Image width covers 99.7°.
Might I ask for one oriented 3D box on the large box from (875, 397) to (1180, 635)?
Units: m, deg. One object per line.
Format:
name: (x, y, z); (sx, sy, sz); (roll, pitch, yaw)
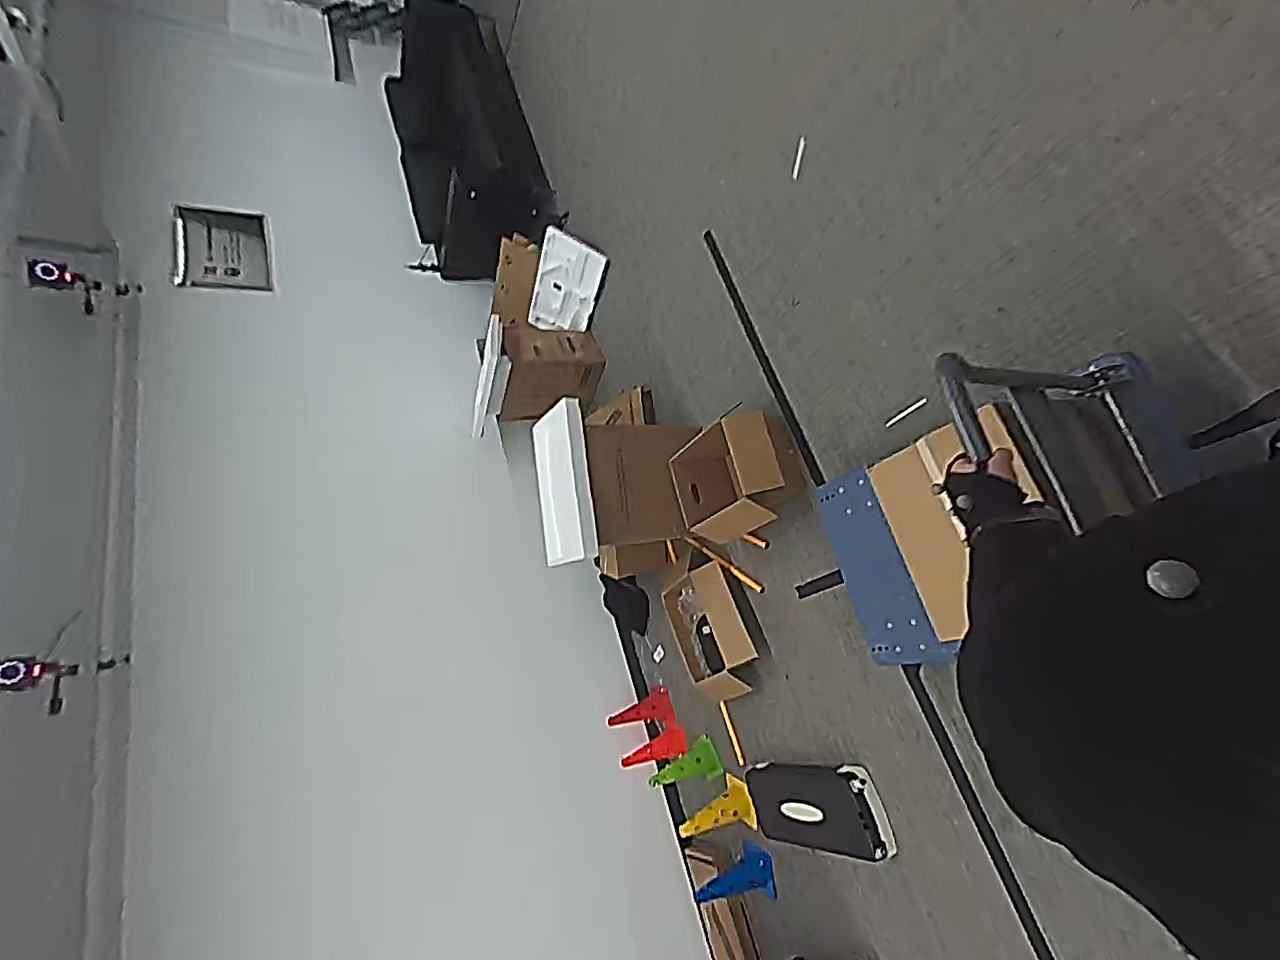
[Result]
large box: (0.790, 0.074, 1.140); (0.320, 0.320, 0.408); (-43, 57, 54)
